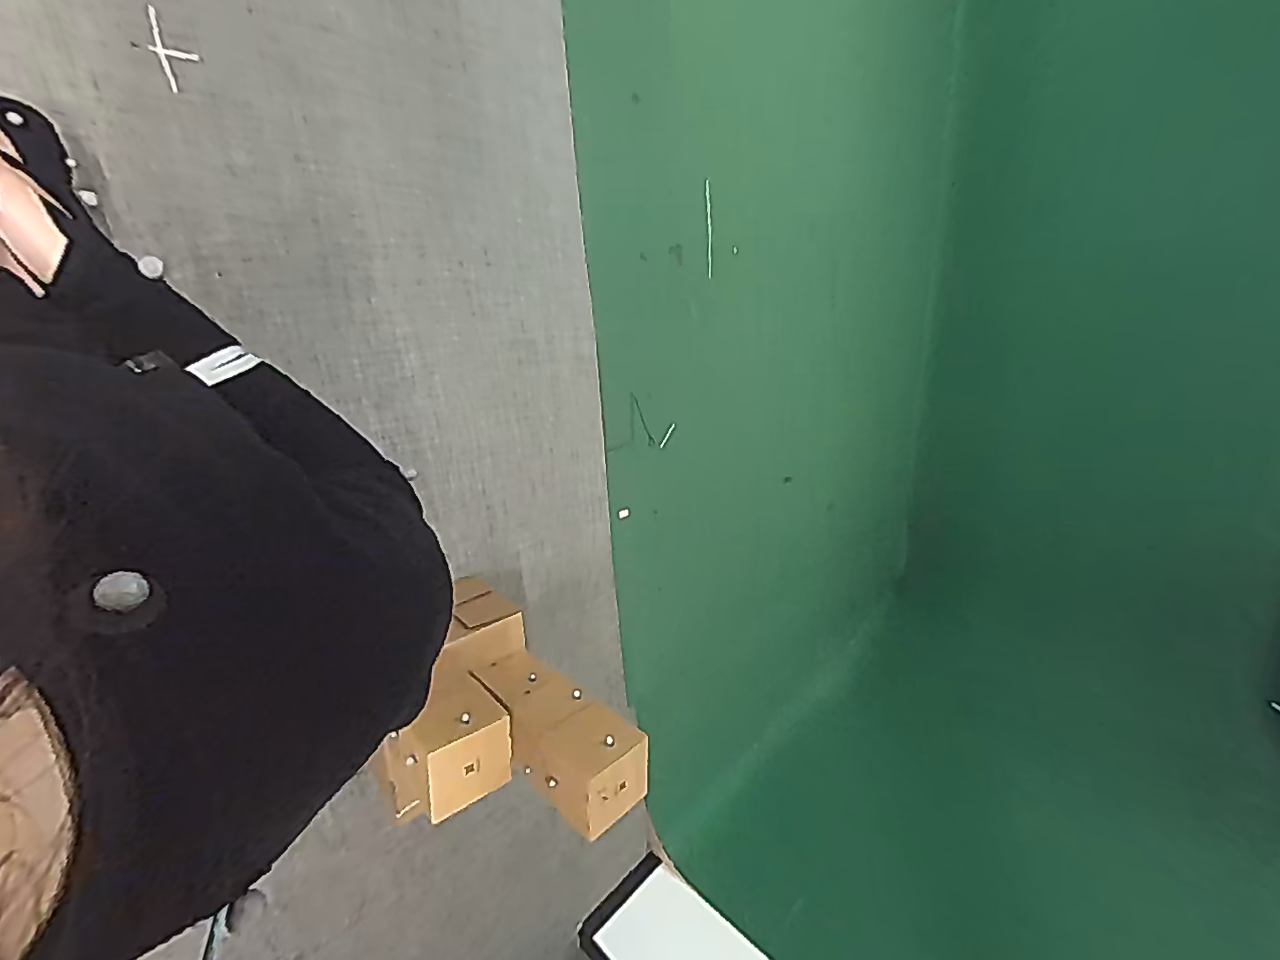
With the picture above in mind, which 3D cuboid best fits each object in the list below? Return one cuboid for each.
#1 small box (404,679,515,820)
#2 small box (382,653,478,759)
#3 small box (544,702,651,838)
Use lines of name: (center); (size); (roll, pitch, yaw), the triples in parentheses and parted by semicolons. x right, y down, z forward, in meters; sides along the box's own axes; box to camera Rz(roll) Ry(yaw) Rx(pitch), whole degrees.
small box: (-0.385, 0.557, 1.144); (0.179, 0.176, 0.168); (-11, 110, -42)
small box: (-0.488, 0.530, 1.266); (0.168, 0.176, 0.179); (-12, 111, -41)
small box: (-0.095, 0.638, 1.216); (0.179, 0.176, 0.168); (-16, 113, -42)
